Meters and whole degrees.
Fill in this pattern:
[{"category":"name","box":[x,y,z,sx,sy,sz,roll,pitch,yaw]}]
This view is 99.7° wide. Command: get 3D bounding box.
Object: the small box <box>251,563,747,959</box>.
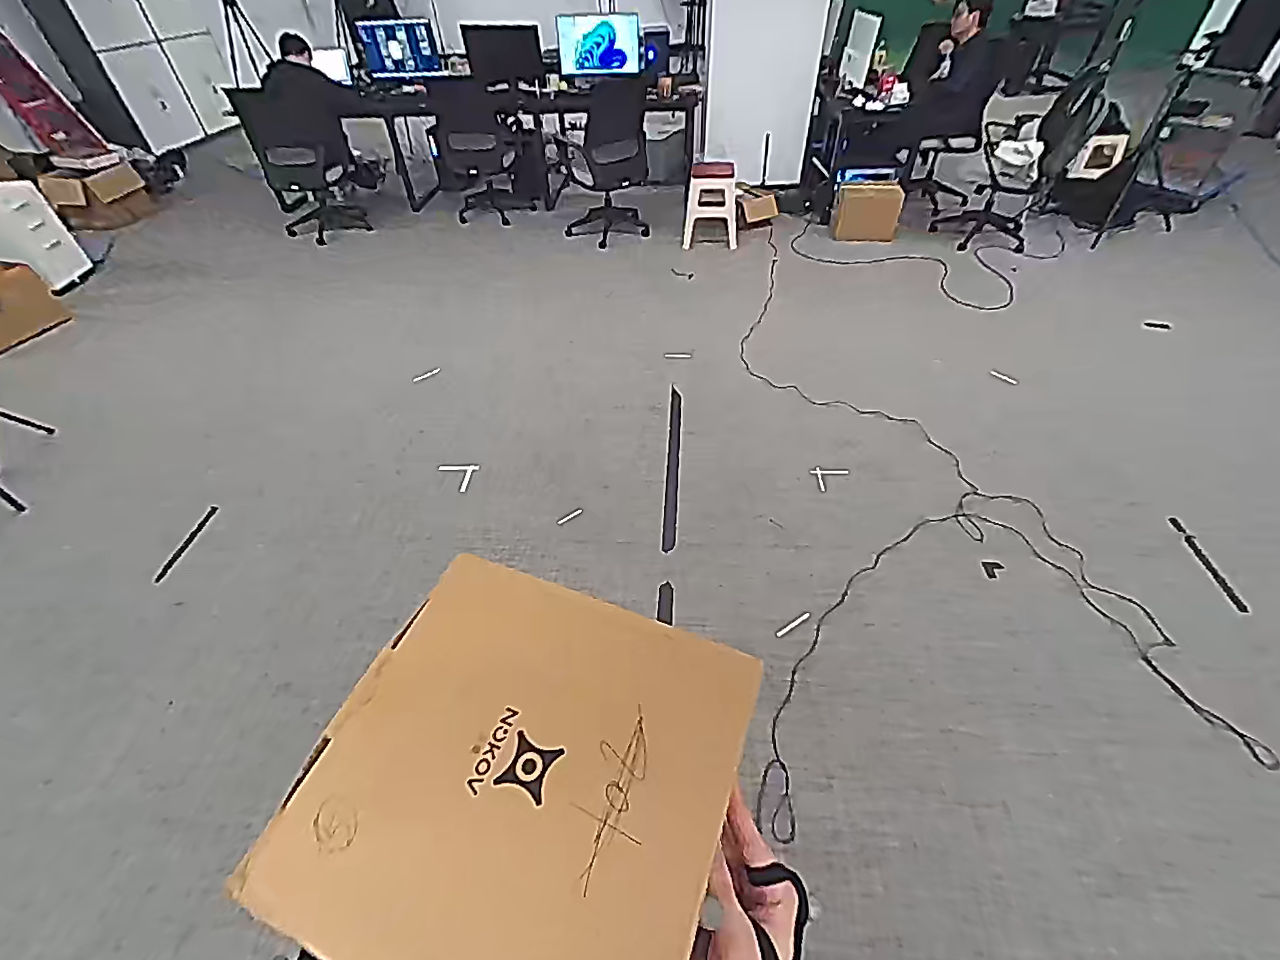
[{"category":"small box","box":[-0.052,0.178,0.310,0.179,0.176,0.168,16,53,14]}]
